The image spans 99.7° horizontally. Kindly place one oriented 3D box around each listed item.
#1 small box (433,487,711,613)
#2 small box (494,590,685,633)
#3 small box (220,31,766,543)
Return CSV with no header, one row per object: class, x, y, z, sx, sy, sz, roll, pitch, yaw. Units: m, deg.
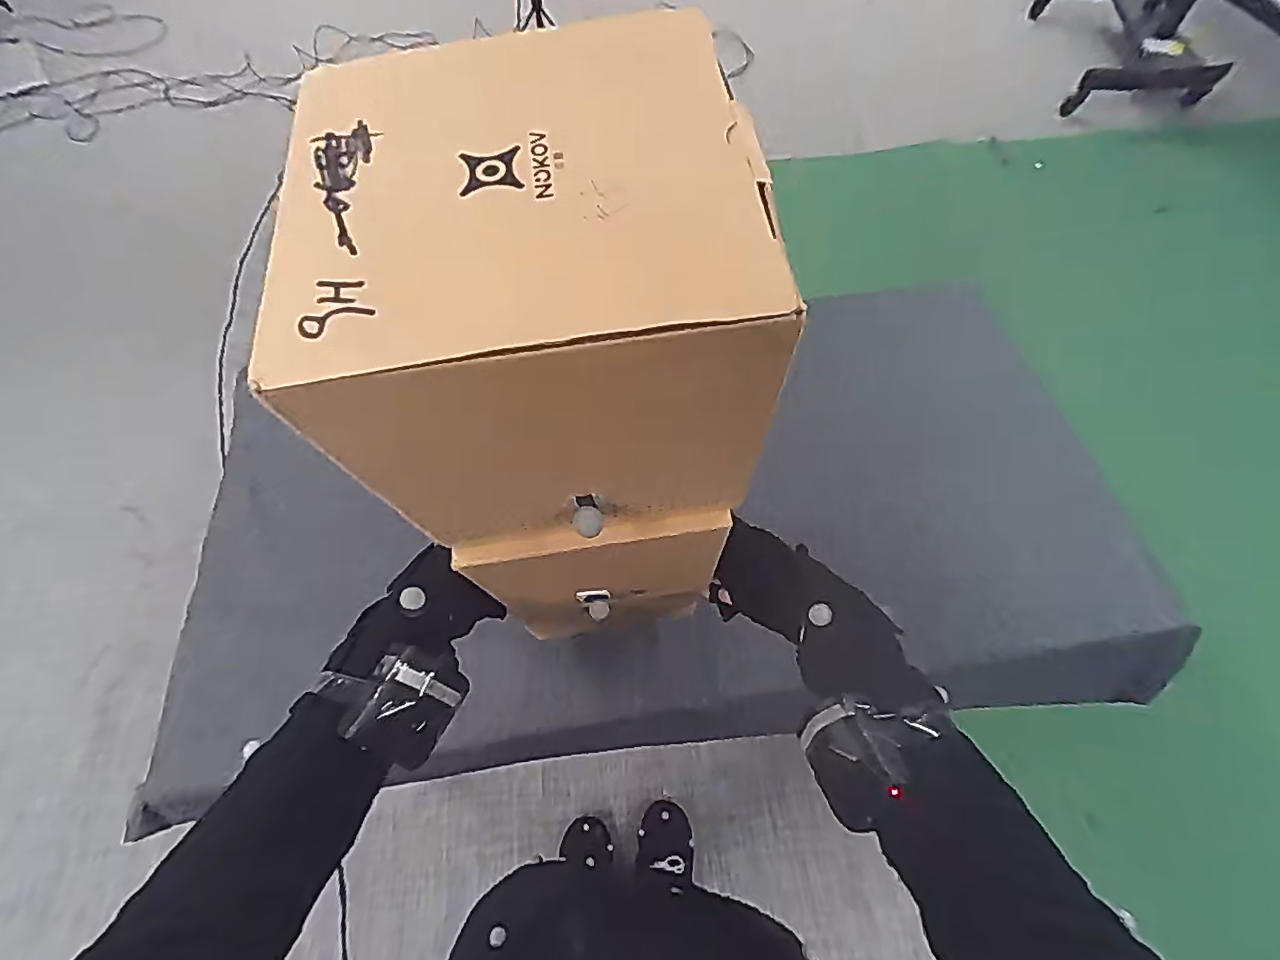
small box,-0.046,-0.007,0.421,0.168,0.176,0.179,-8,66,-1
small box,-0.047,0.057,0.570,0.179,0.176,0.168,-7,66,-3
small box,-0.052,-0.077,0.274,0.179,0.176,0.168,-8,66,-1
